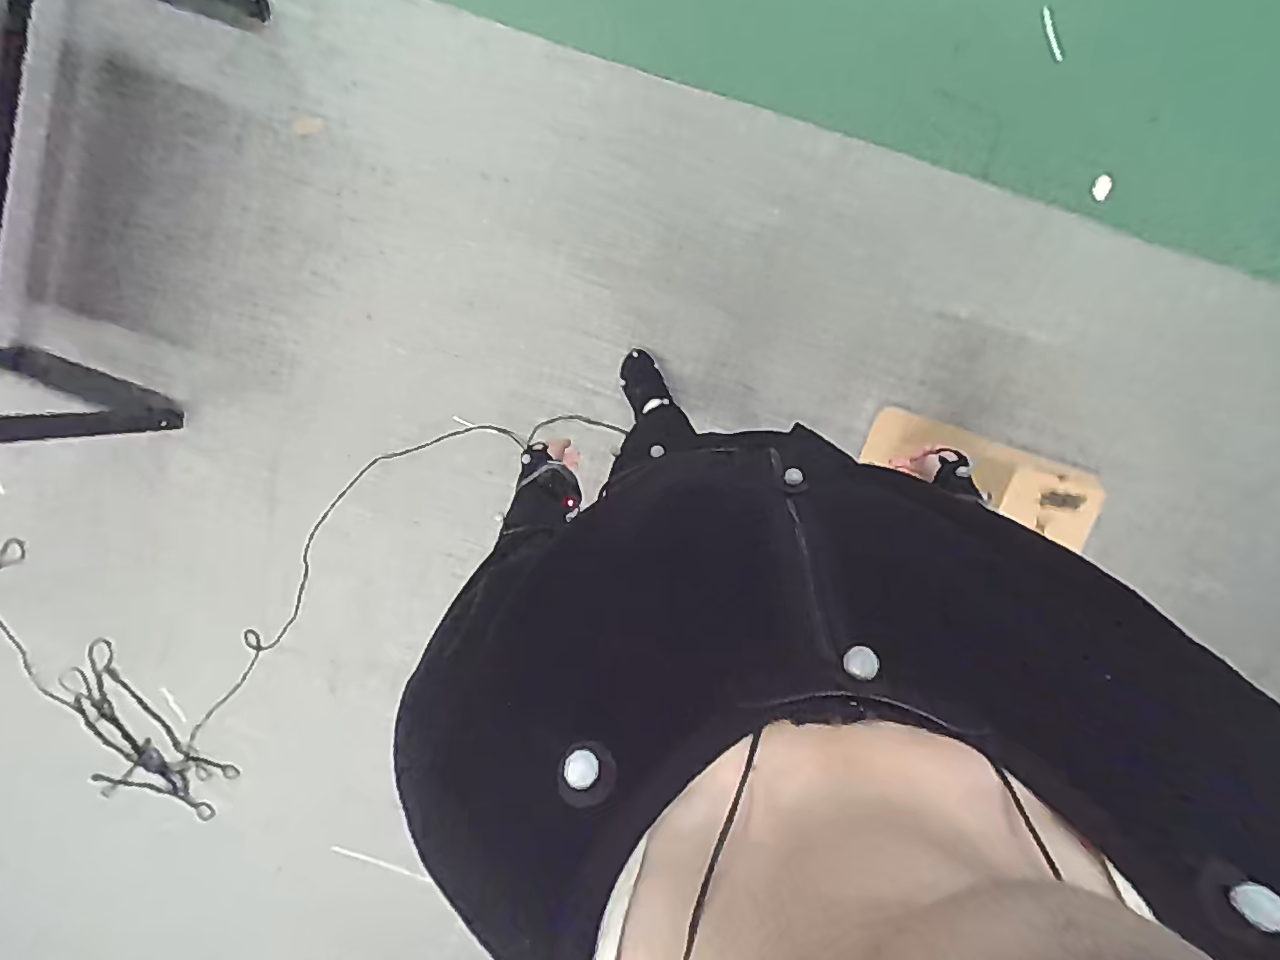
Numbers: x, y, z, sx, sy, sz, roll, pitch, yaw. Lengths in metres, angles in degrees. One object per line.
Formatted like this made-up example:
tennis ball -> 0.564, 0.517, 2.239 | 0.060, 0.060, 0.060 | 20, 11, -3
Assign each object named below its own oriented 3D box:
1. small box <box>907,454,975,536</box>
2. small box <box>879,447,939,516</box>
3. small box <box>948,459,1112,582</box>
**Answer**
small box -> 0.730, 0.046, 1.202 | 0.179, 0.176, 0.168 | 18, 101, 1
small box -> 0.736, 0.019, 1.364 | 0.179, 0.176, 0.168 | 17, 100, 1
small box -> 0.731, 0.068, 1.038 | 0.168, 0.176, 0.179 | 17, 101, 2
